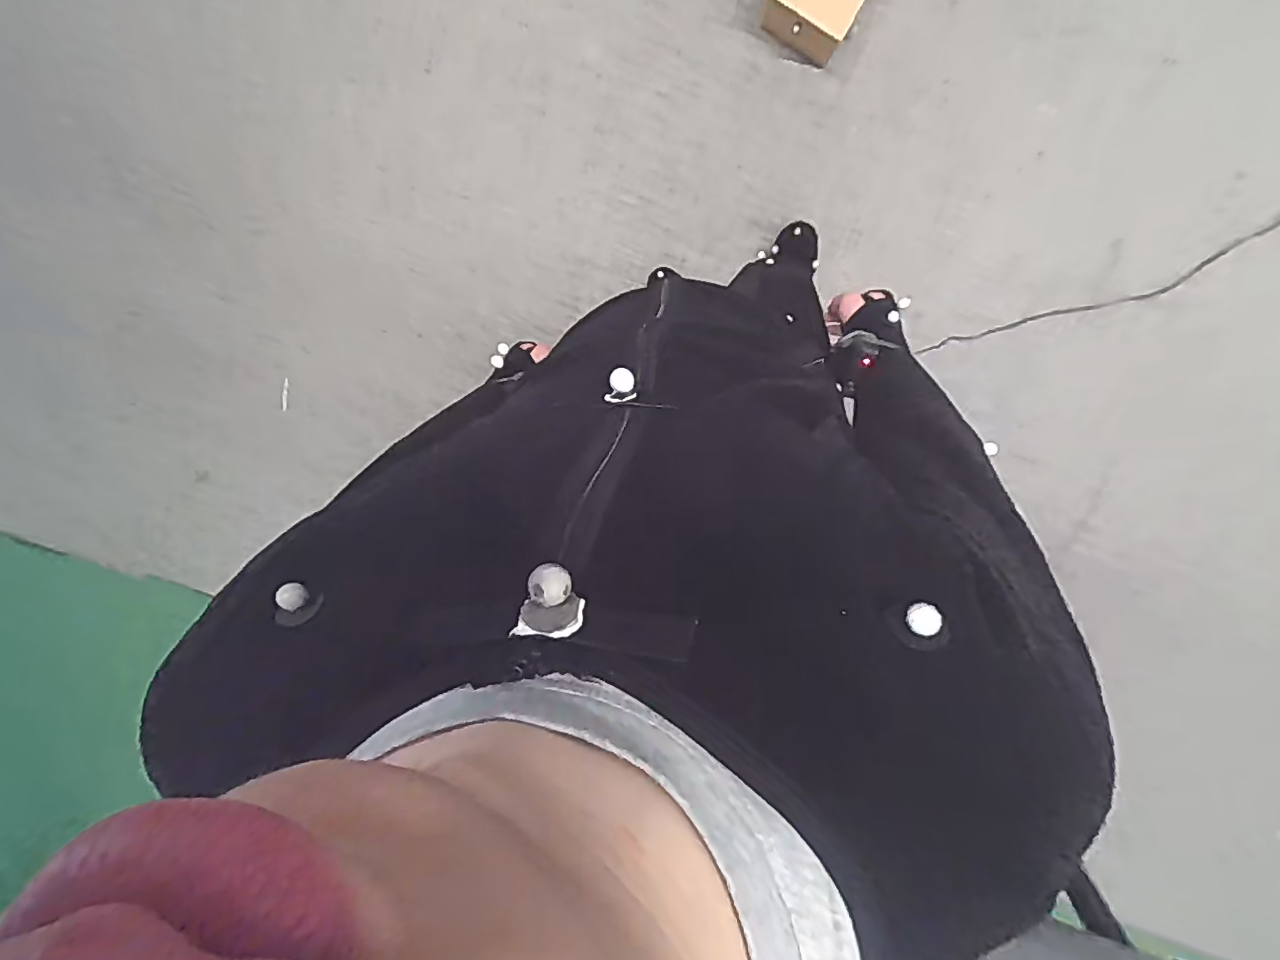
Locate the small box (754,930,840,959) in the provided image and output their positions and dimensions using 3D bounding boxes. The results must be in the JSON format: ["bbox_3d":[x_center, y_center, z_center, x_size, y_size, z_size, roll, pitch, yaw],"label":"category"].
[{"bbox_3d":[0.341,1.126,1.159,0.168,0.176,0.179,18,112,0],"label":"small box"}]

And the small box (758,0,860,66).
[{"bbox_3d":[0.357,-0.995,1.104,0.179,0.176,0.168,29,114,-6],"label":"small box"}]
